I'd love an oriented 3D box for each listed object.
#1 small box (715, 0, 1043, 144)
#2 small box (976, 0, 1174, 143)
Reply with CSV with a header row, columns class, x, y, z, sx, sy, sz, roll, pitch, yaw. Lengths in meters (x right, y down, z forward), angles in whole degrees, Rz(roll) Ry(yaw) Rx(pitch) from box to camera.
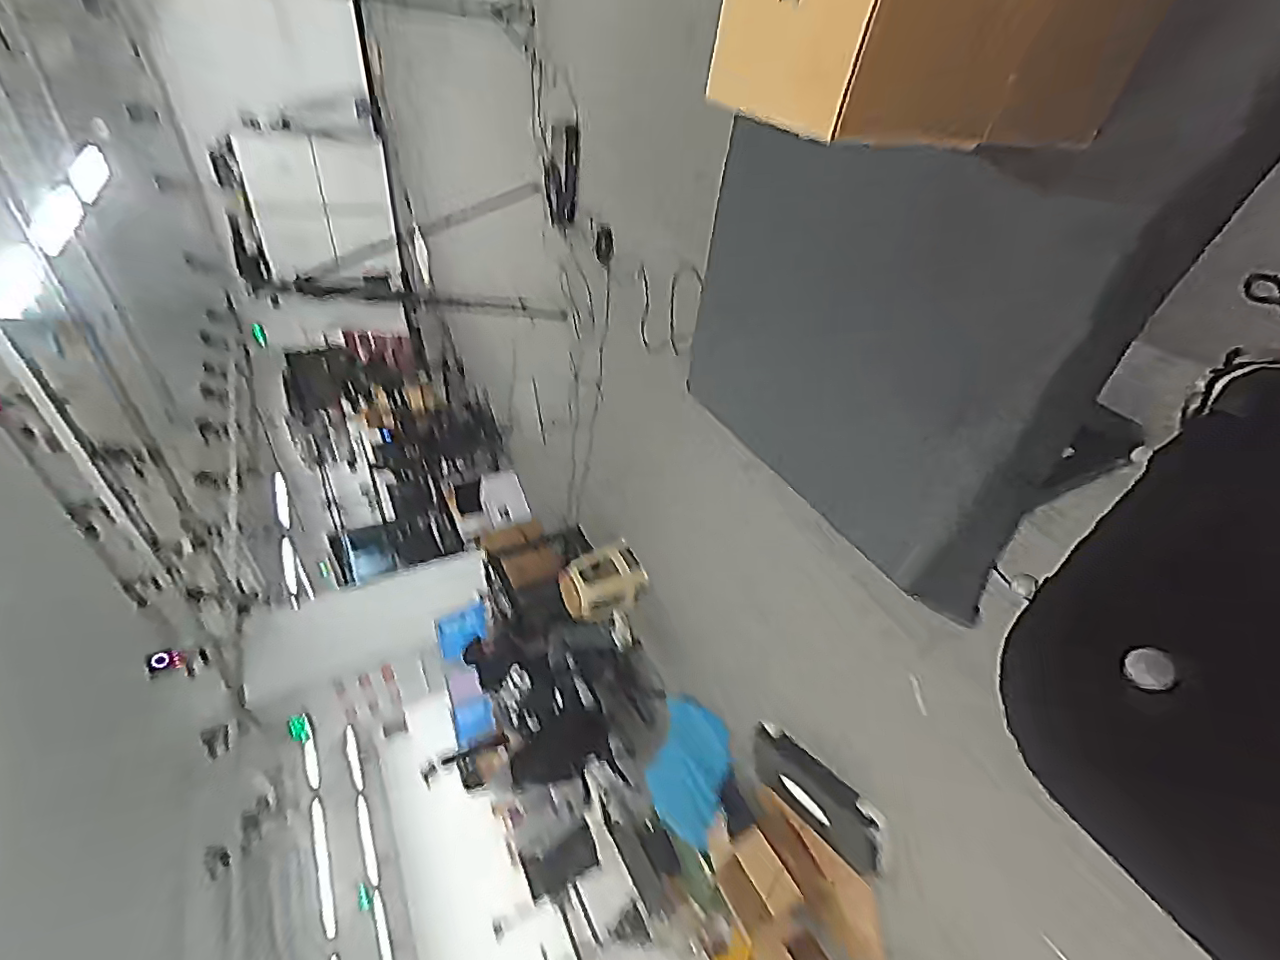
class,x,y,z,sx,sy,sz,roll,pitch,yaw
small box,0.185,-0.374,0.412,0.168,0.176,0.179,54,146,39
small box,0.330,-0.414,0.474,0.168,0.176,0.179,53,147,41
